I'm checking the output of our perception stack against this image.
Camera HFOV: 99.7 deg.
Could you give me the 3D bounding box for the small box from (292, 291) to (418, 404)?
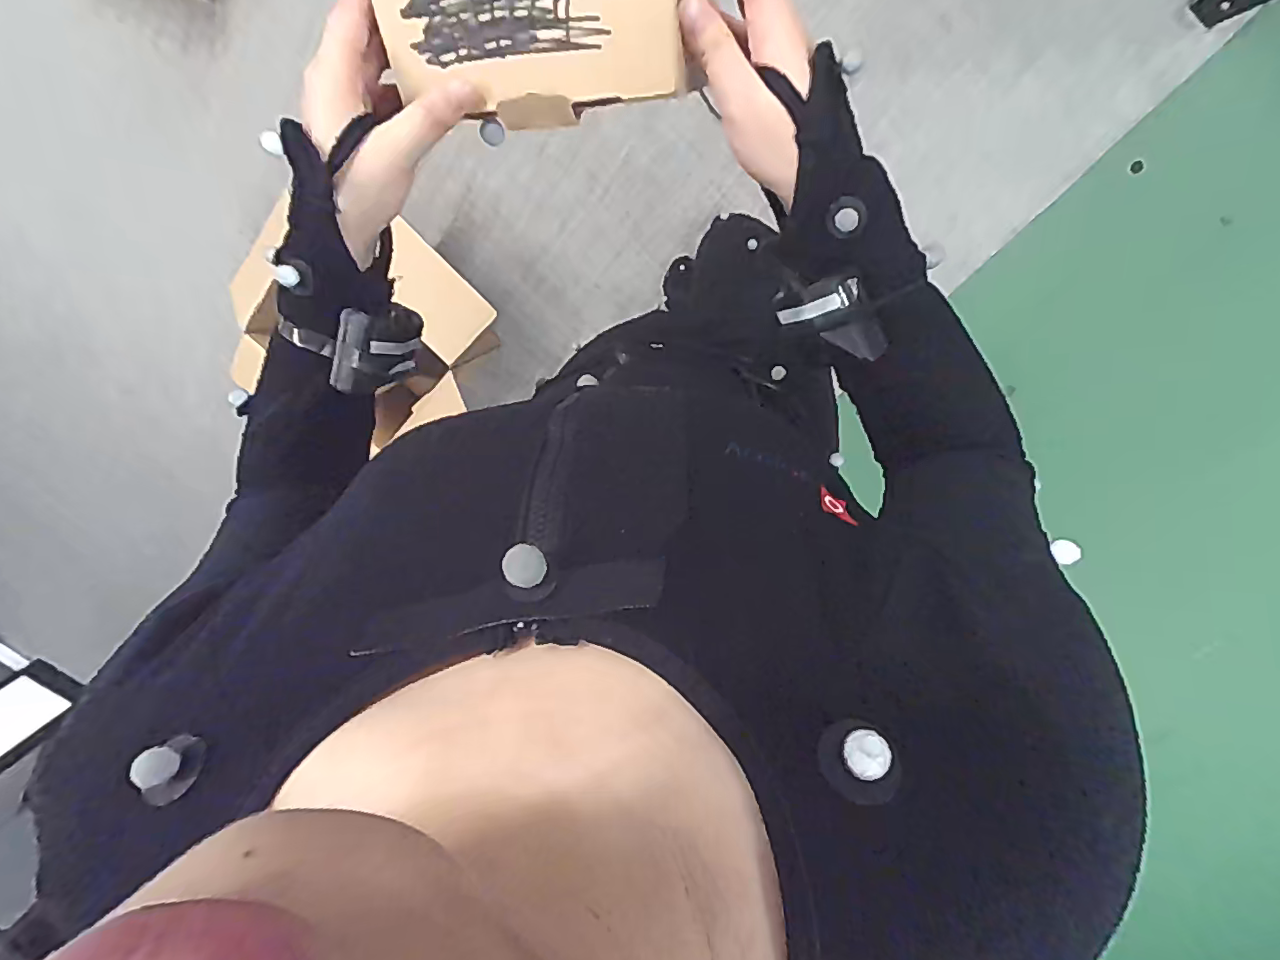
[{"bbox_3d":[-0.649,-0.311,1.249,0.168,0.176,0.179,37,115,-10],"label":"small box"}]
